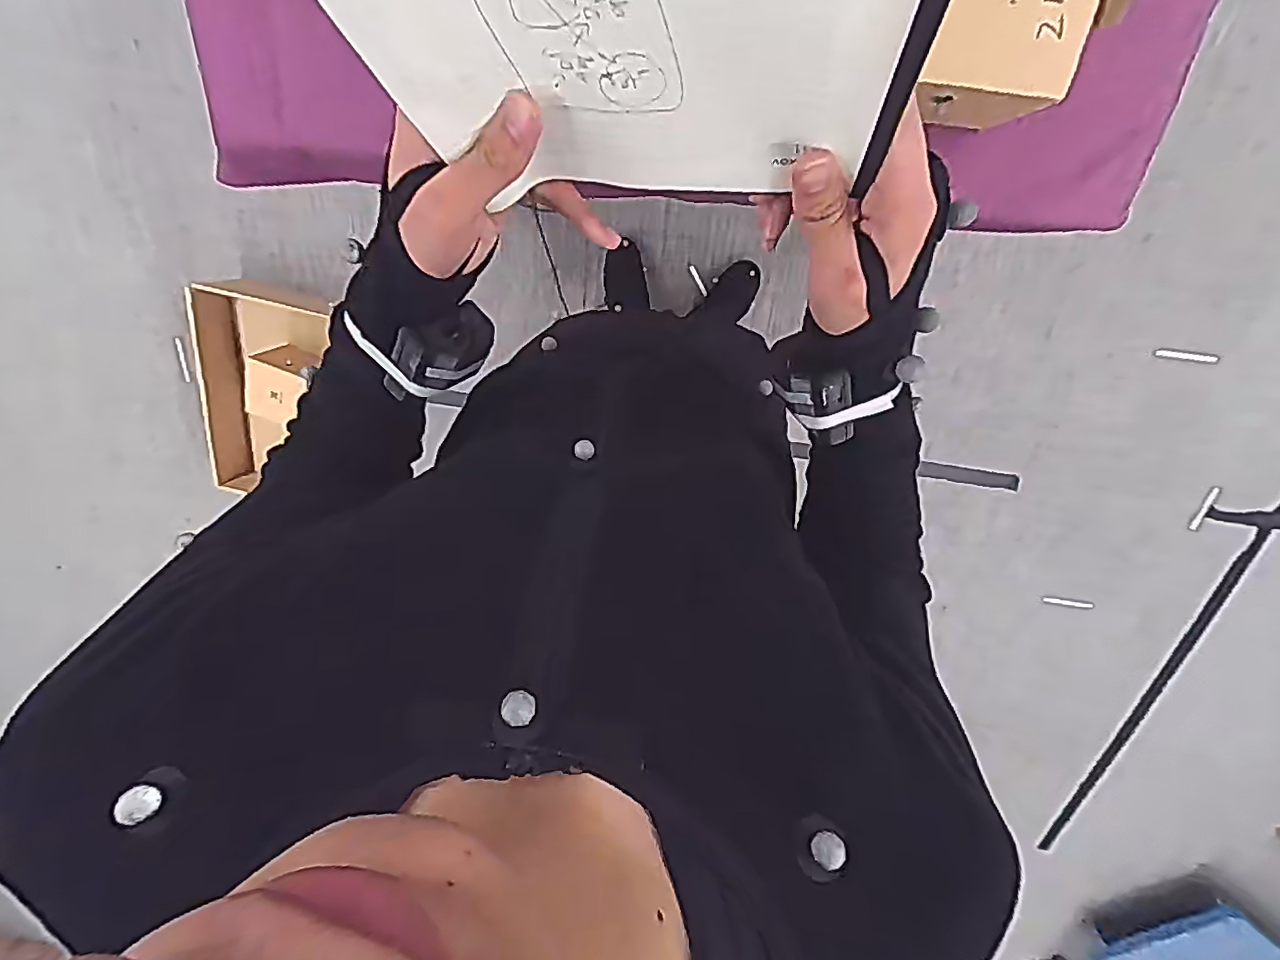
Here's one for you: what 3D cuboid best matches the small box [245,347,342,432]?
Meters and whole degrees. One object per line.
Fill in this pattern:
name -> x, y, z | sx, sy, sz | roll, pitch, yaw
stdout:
small box -> -0.987, -0.266, 1.550 | 0.179, 0.176, 0.168 | 20, 116, -4

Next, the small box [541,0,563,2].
small box -> -0.159, -0.618, 0.537 | 0.168, 0.176, 0.179 | 8, 115, 2

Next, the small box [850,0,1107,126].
small box -> 0.335, -0.476, 0.548 | 0.179, 0.176, 0.168 | 9, 116, 2
